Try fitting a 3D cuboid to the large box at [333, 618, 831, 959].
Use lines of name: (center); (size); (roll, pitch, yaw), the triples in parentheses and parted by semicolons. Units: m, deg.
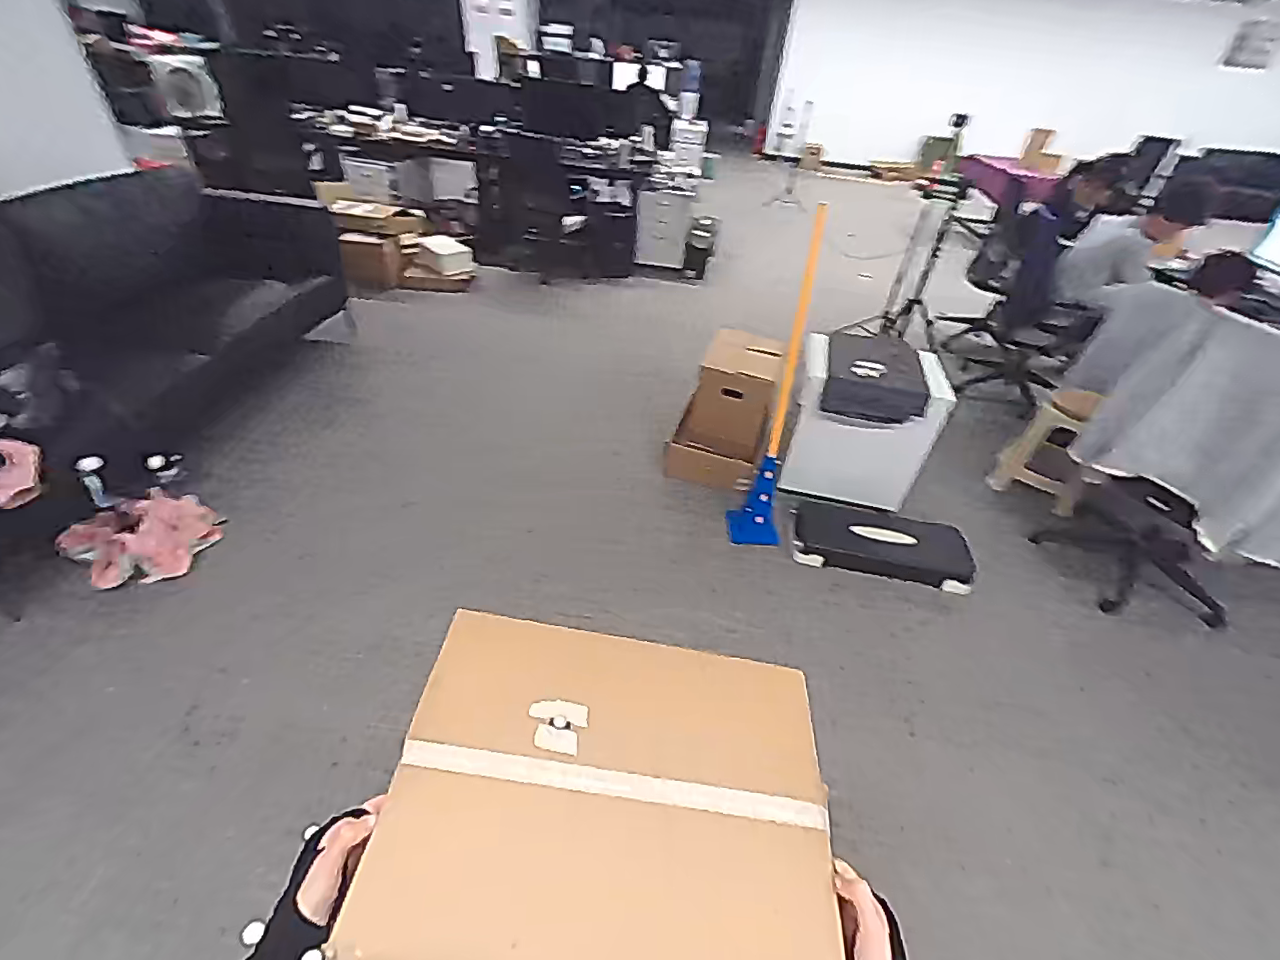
large box: (-0.048, 0.398, 0.623); (0.408, 0.320, 0.320); (10, 44, -3)
